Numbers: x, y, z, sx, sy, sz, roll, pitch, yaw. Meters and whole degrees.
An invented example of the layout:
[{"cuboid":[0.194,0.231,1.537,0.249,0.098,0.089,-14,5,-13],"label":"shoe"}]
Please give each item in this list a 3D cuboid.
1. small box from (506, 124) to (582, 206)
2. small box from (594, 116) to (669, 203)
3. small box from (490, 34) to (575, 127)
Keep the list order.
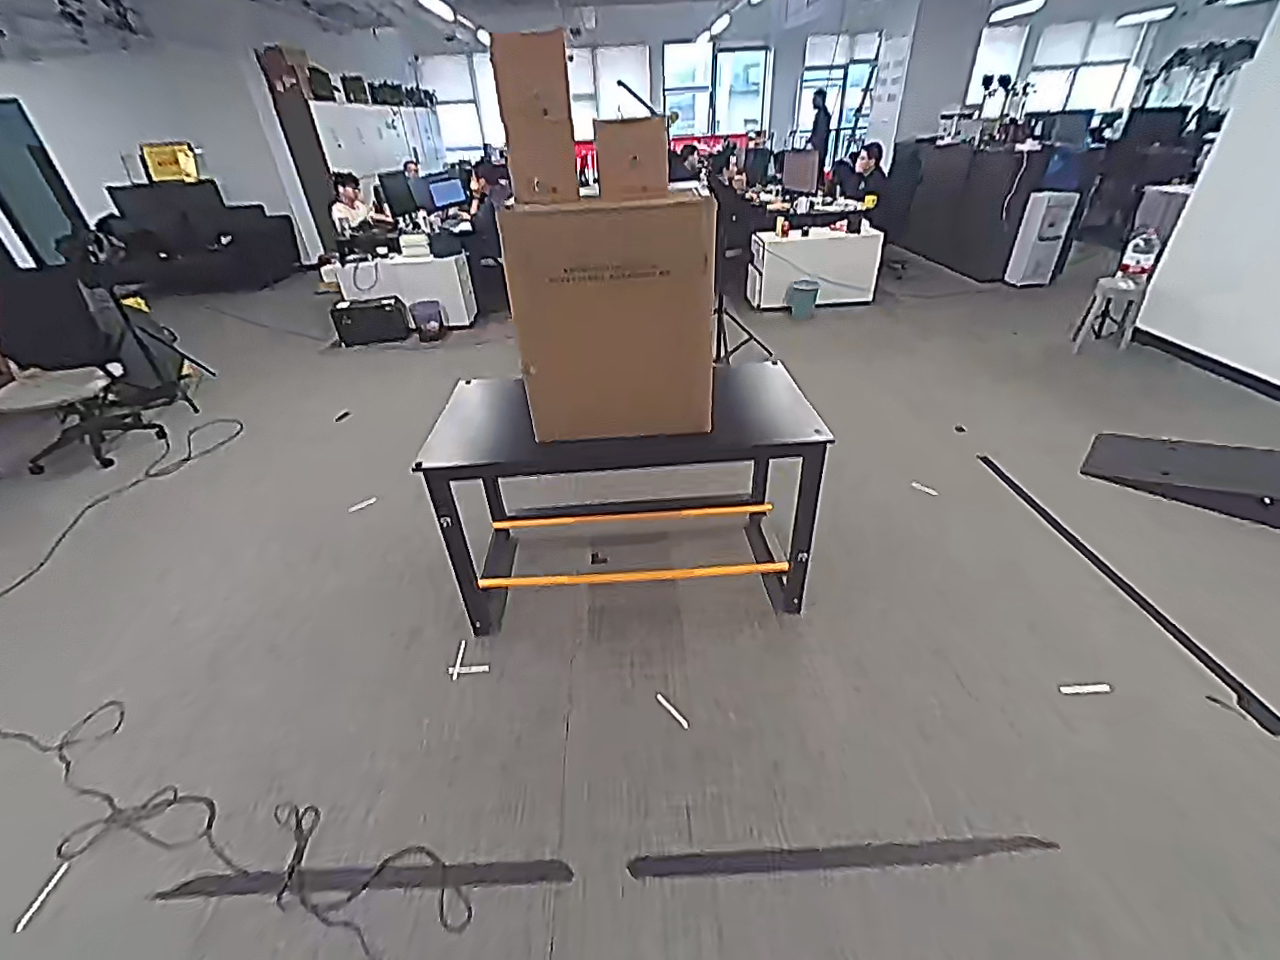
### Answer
[{"cuboid":[-0.239,-0.799,1.371,0.168,0.176,0.179,-6,35,-5],"label":"small box"},{"cuboid":[-0.021,-0.796,1.347,0.168,0.176,0.179,-7,35,-4],"label":"small box"},{"cuboid":[-0.247,-0.935,1.276,0.168,0.176,0.179,-5,34,-3],"label":"small box"}]
